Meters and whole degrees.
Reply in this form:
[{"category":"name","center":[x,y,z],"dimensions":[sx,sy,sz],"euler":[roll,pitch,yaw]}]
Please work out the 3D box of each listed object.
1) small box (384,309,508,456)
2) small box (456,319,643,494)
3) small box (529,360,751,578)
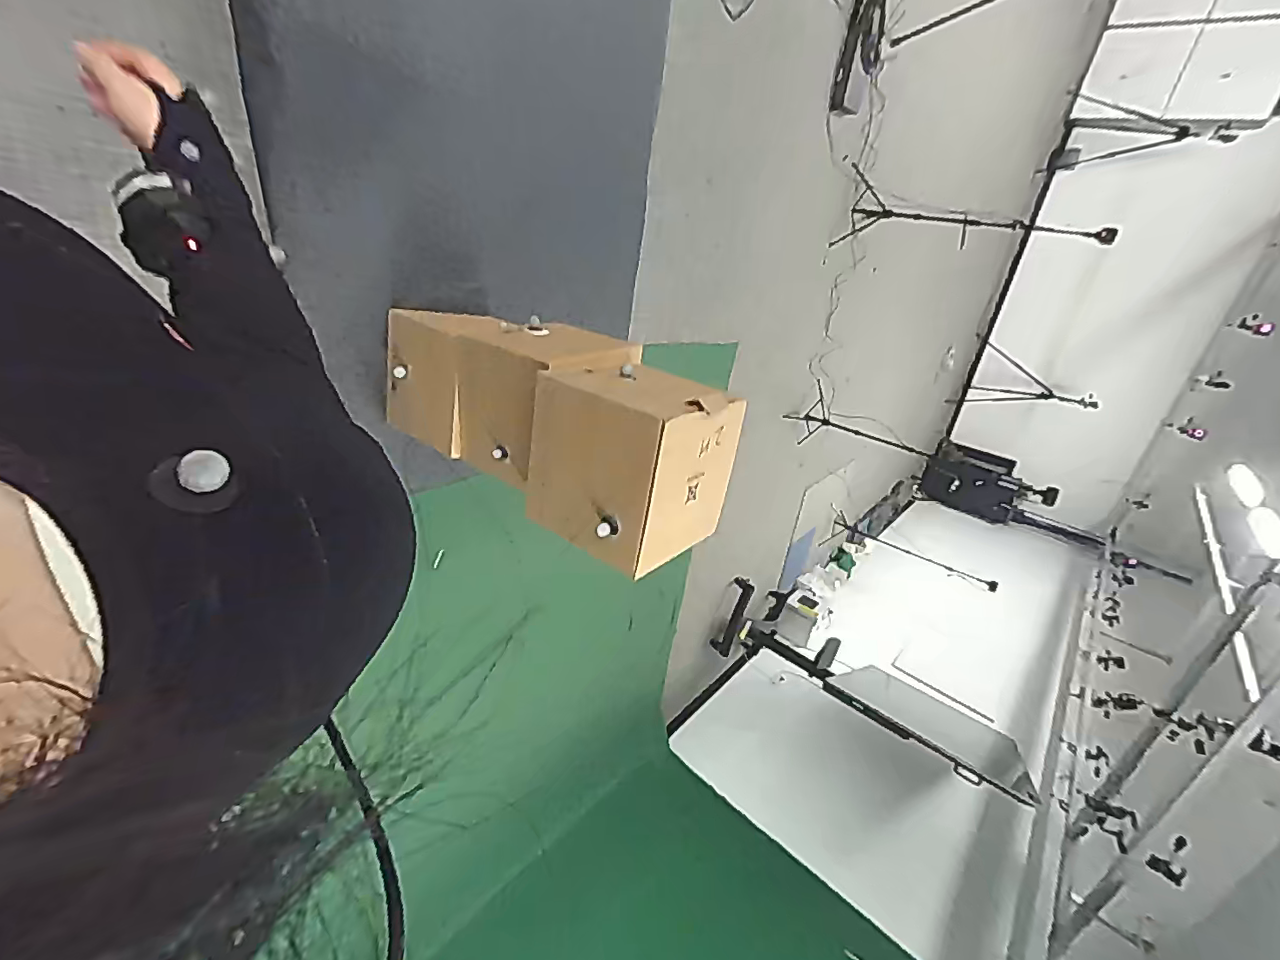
[{"category":"small box","center":[-0.244,-0.147,0.789],"dimensions":[0.179,0.176,0.168],"euler":[-15,122,-50]},{"category":"small box","center":[-0.118,-0.100,0.699],"dimensions":[0.168,0.176,0.179],"euler":[-26,129,-47]},{"category":"small box","center":[-0.005,-0.025,0.601],"dimensions":[0.168,0.176,0.179],"euler":[-20,126,-51]}]
